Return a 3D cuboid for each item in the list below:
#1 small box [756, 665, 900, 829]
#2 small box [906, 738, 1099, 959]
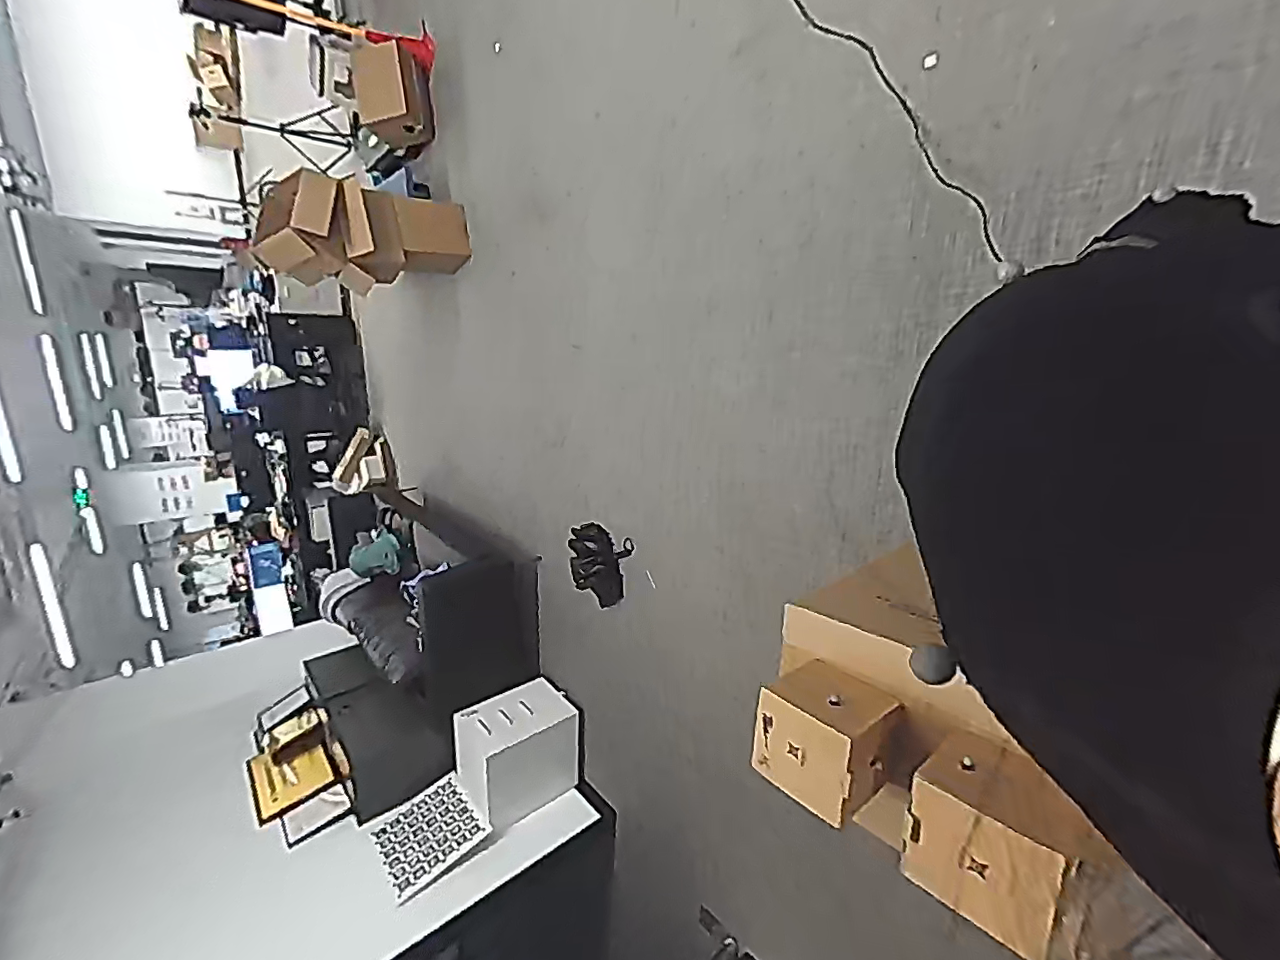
[{"bbox_3d":[0.329,0.449,0.946,0.179,0.176,0.168,16,106,46],"label":"small box"},{"bbox_3d":[0.502,0.492,0.754,0.179,0.176,0.168,12,105,47],"label":"small box"}]
